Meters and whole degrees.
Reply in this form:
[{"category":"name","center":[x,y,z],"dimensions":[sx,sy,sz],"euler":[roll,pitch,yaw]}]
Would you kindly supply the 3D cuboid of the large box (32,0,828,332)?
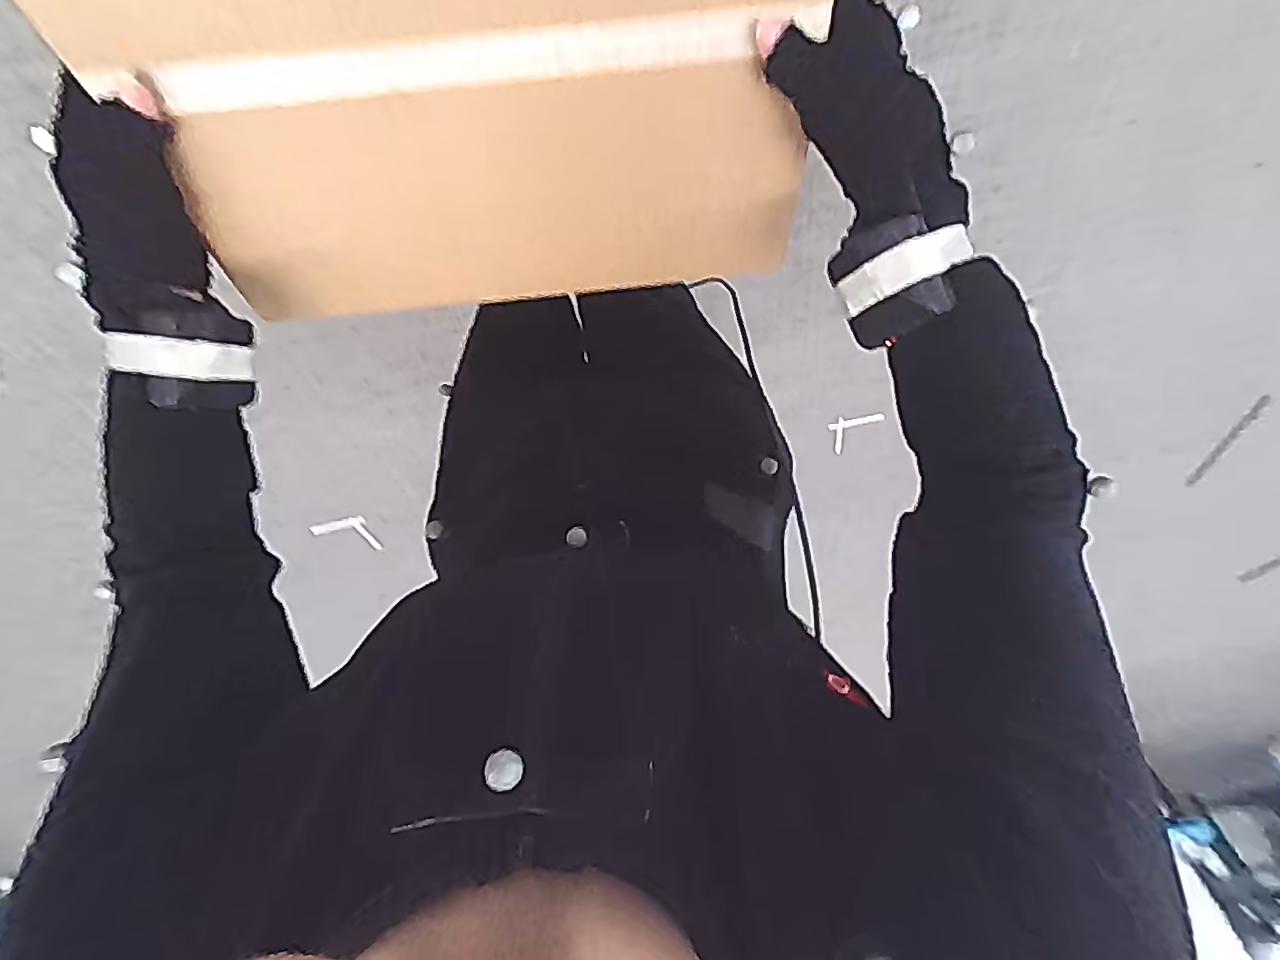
[{"category":"large box","center":[-0.108,-0.349,0.390],"dimensions":[0.408,0.320,0.320],"euler":[-7,145,-1]}]
